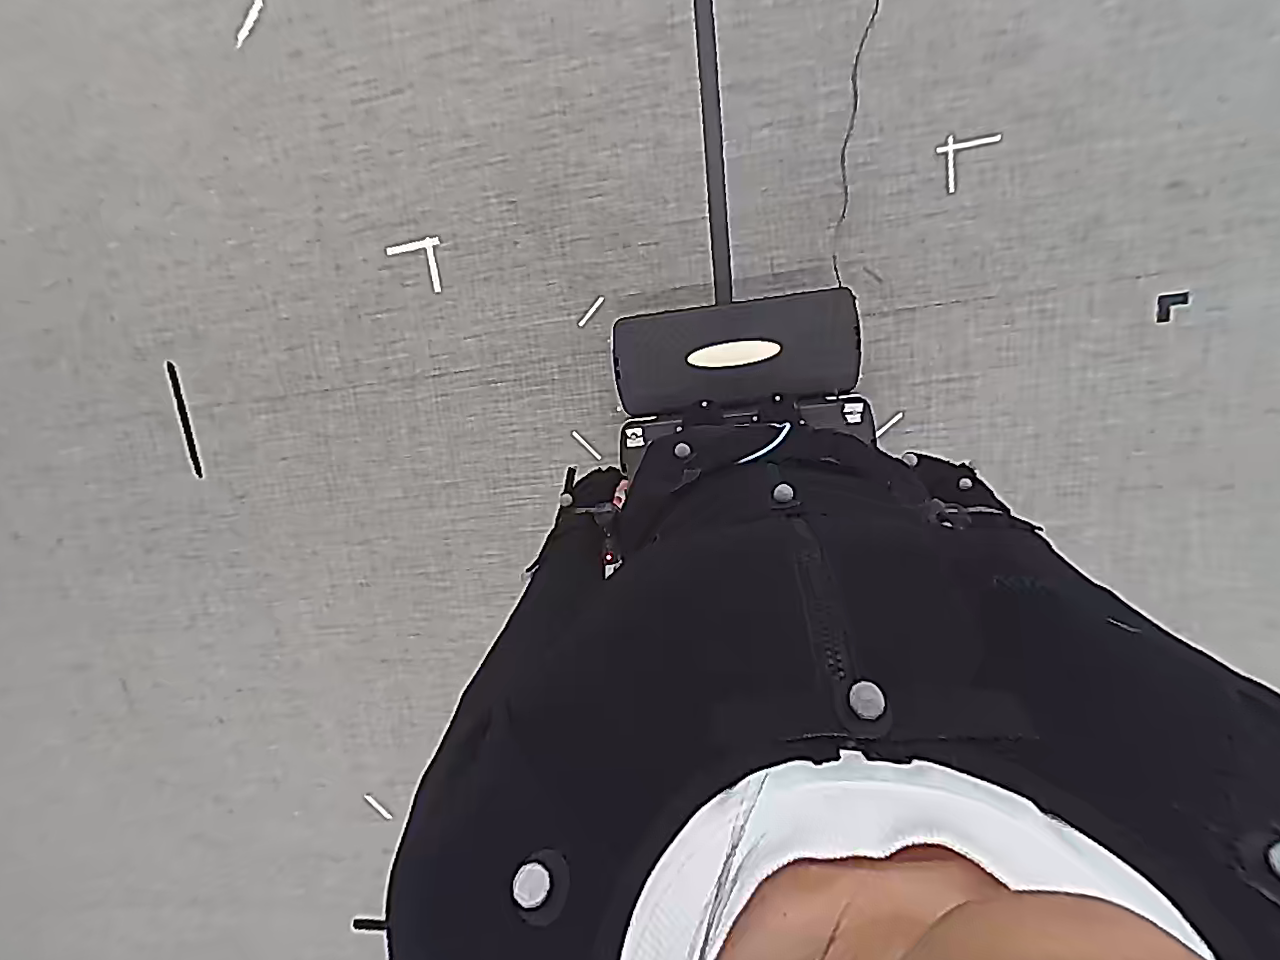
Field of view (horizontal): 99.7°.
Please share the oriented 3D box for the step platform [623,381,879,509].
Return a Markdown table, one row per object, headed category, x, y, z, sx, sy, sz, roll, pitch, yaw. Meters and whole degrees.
| category | x | y | z | sx | sy | sz | roll | pitch | yaw |
| --- | --- | --- | --- | --- | --- | --- | --- | --- | --- |
| step platform | 0.294 | -0.093 | 1.508 | 0.684 | 0.204 | 0.286 | -6 | 98 | 10 |
